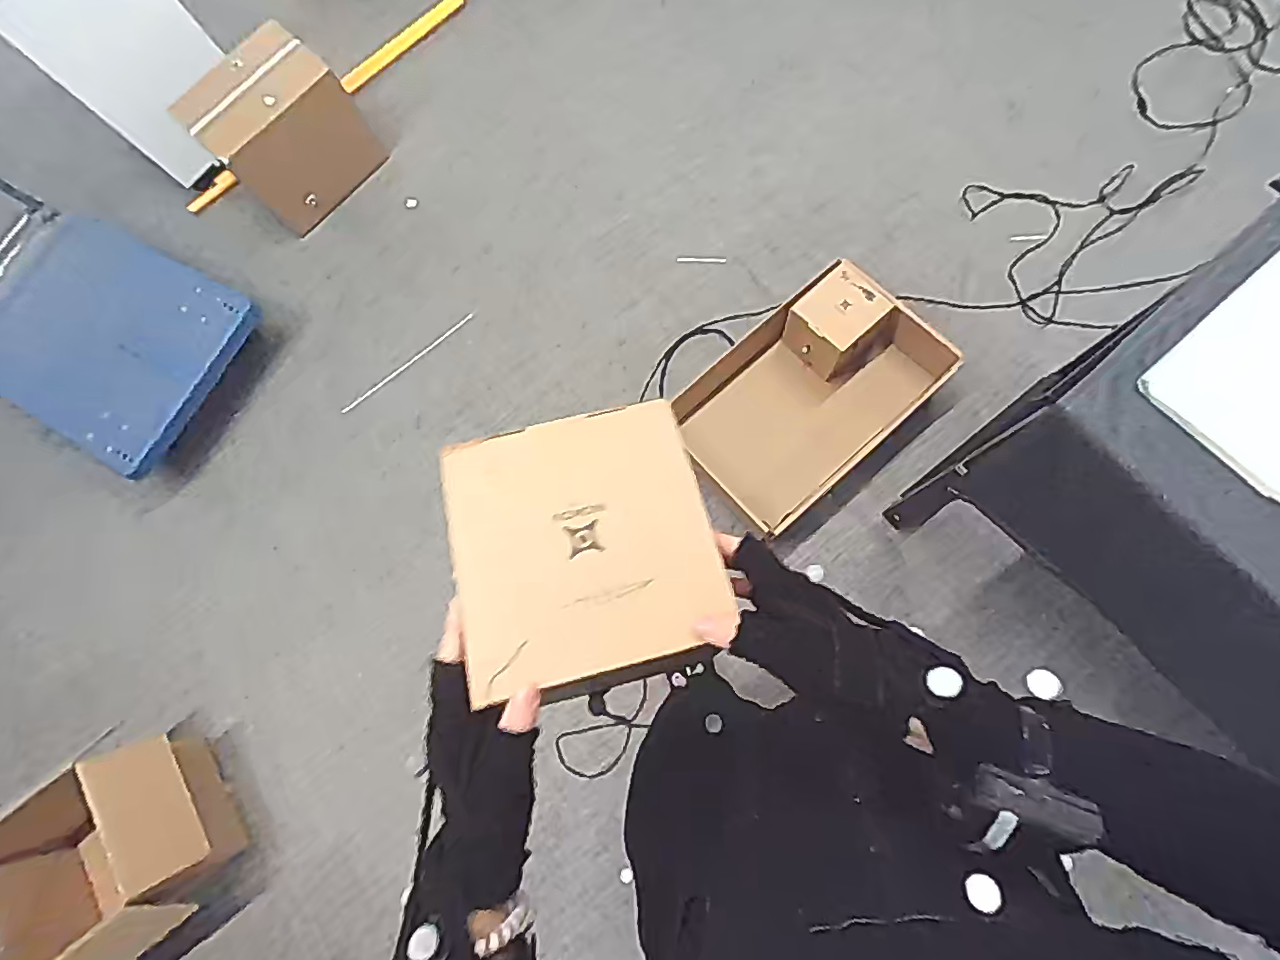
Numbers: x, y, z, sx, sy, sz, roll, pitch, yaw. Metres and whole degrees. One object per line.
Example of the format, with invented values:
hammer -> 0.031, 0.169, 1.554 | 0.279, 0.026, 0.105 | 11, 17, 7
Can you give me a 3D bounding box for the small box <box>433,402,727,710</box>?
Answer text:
small box -> -0.047, 0.069, 0.425 | 0.168, 0.176, 0.179 | -14, 67, -6
